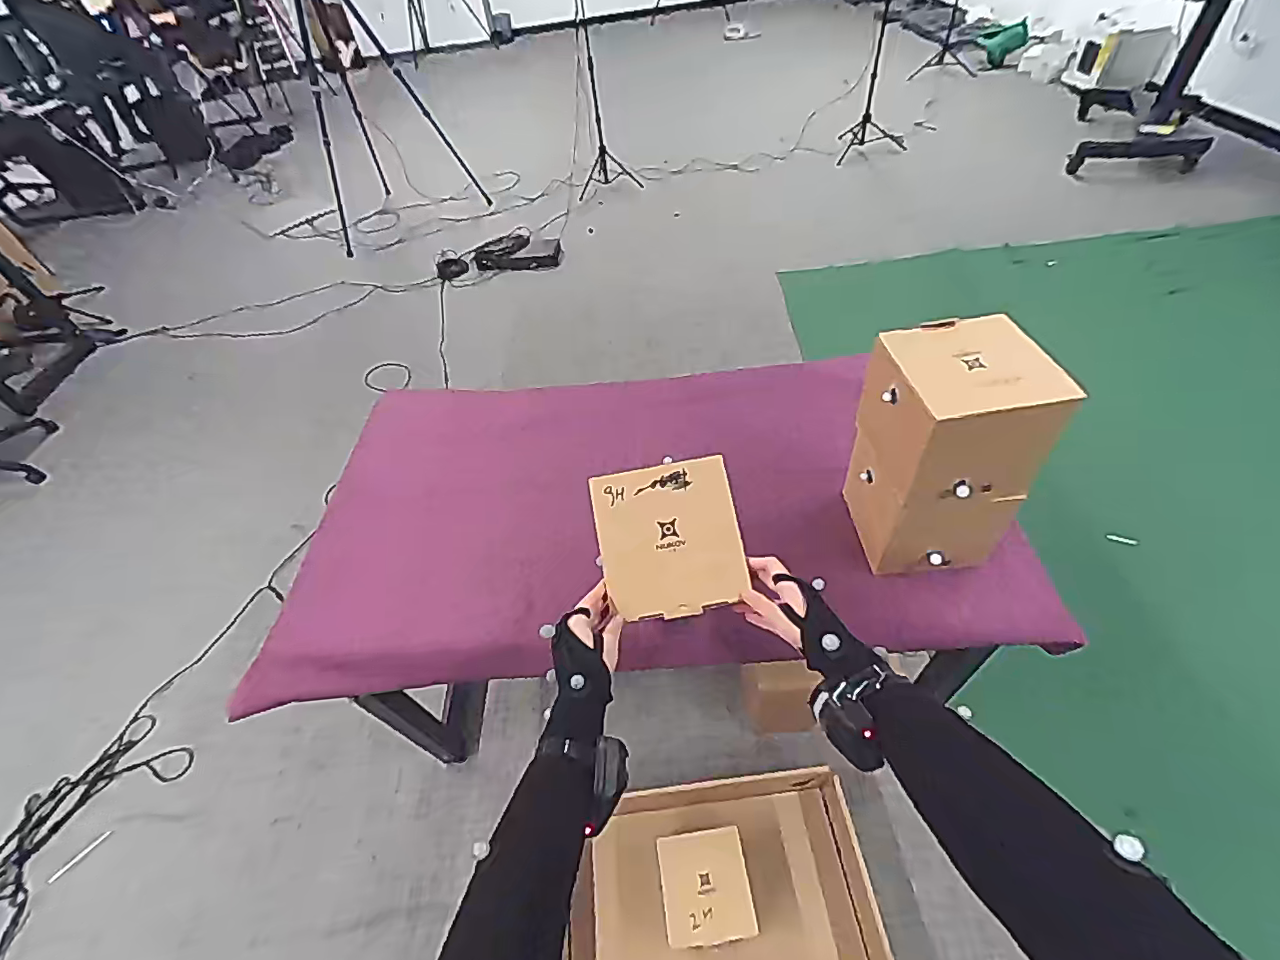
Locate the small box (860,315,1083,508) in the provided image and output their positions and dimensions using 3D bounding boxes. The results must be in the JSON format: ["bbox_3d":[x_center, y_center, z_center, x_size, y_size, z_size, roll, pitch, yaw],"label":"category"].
[{"bbox_3d":[0.406,-0.088,0.705,0.168,0.176,0.179,-8,47,3],"label":"small box"}]

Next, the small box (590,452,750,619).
[{"bbox_3d":[0.036,0.079,0.708,0.168,0.176,0.179,-10,76,-1],"label":"small box"}]

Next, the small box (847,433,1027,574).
[{"bbox_3d":[0.430,0.021,0.823,0.168,0.176,0.179,-6,48,4],"label":"small box"}]

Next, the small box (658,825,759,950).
[{"bbox_3d":[0.130,0.812,1.077,0.168,0.176,0.179,-9,50,0],"label":"small box"}]
